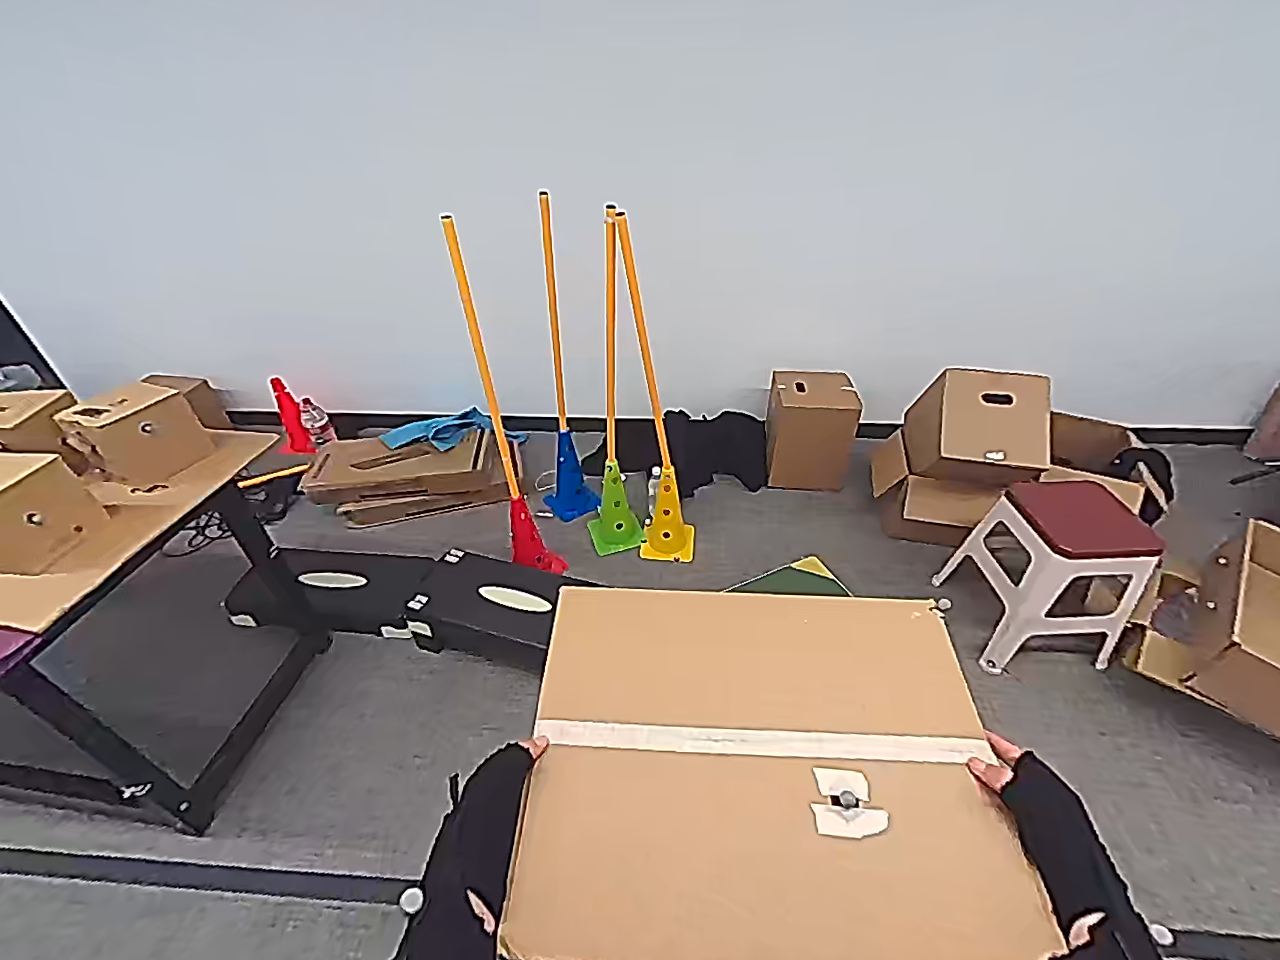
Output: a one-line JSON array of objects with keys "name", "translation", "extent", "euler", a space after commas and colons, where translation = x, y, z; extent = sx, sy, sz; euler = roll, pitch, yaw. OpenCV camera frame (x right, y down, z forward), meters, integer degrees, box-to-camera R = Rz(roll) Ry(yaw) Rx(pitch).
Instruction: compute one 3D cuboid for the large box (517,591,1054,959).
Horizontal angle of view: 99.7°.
[{"name": "large box", "translation": [0.111, 0.344, 0.605], "extent": [0.408, 0.320, 0.320], "euler": [2, 46, 3]}]
